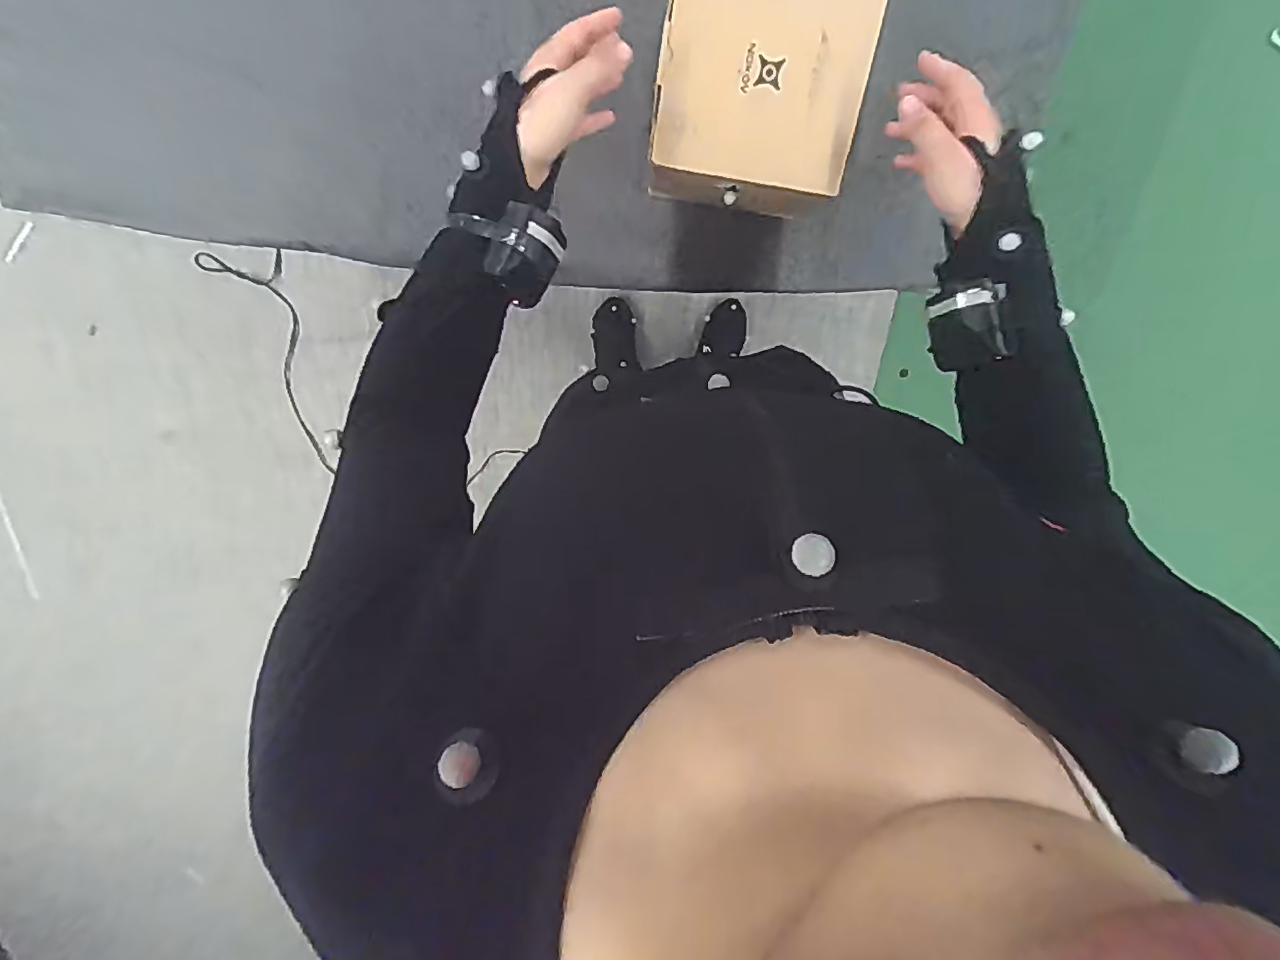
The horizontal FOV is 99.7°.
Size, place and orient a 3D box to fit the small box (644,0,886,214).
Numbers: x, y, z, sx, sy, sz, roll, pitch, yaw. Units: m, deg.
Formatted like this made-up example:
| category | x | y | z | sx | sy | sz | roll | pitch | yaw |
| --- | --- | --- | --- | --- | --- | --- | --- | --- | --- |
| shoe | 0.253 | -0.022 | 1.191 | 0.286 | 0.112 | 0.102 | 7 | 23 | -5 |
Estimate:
| category | x | y | z | sx | sy | sz | roll | pitch | yaw |
| --- | --- | --- | --- | --- | --- | --- | --- | --- | --- |
| small box | 0.103 | -0.364 | 0.520 | 0.179 | 0.176 | 0.168 | 8 | 110 | -2 |

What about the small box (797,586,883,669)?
| category | x | y | z | sx | sy | sz | roll | pitch | yaw |
| --- | --- | --- | --- | --- | --- | --- | --- | --- | --- |
| small box | 0.551 | 0.418 | 1.519 | 0.168 | 0.176 | 0.179 | 7 | 112 | 1 |
